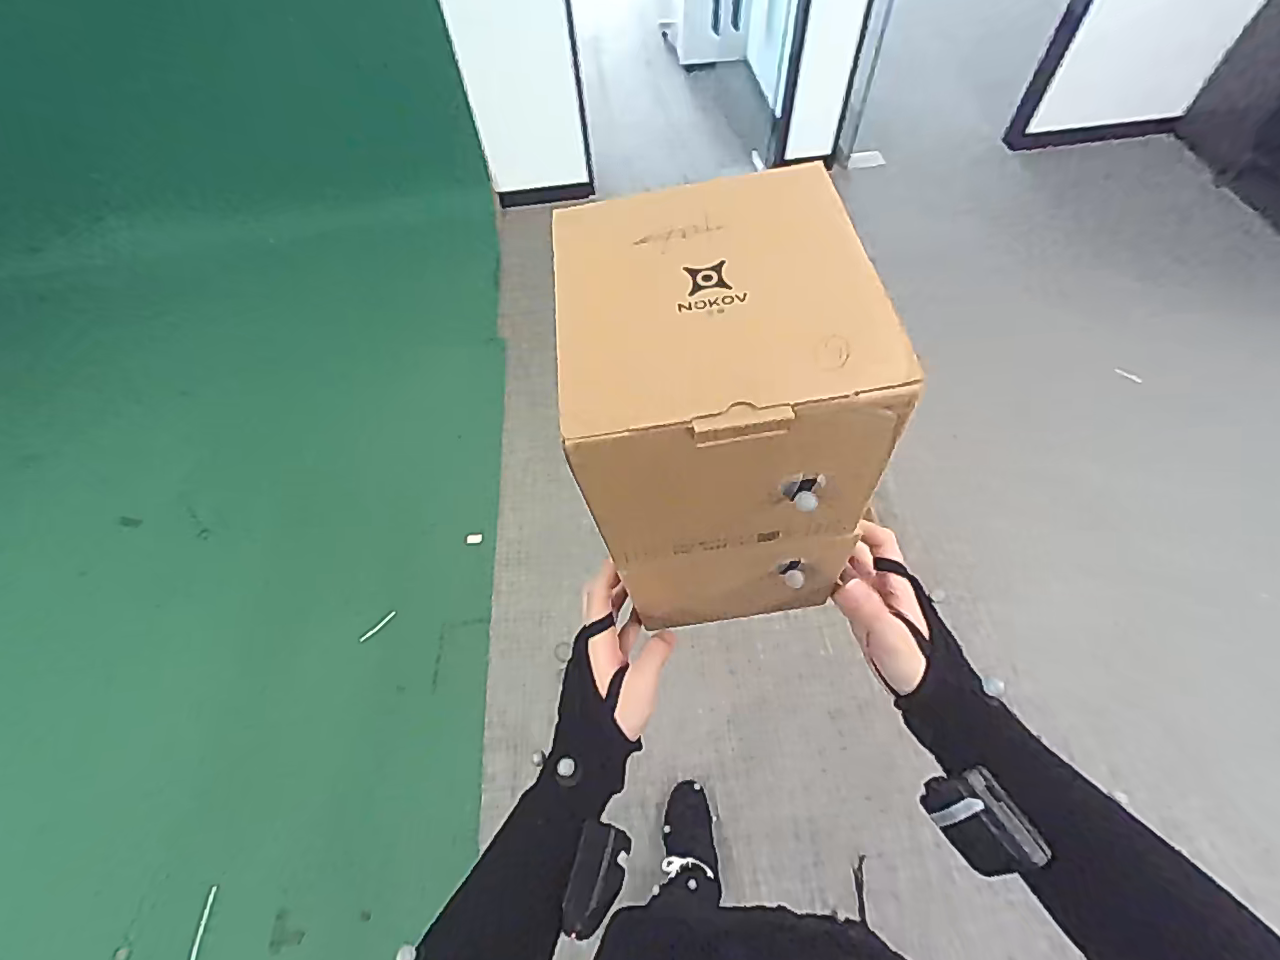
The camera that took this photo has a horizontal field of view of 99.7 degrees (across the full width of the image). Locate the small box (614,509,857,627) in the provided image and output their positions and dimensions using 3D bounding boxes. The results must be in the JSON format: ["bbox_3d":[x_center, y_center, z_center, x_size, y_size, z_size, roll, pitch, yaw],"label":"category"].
[{"bbox_3d":[0.072,0.025,0.493,0.179,0.176,0.168,-8,58,5],"label":"small box"}]

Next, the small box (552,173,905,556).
[{"bbox_3d":[0.045,-0.060,0.356,0.168,0.176,0.179,-8,58,4],"label":"small box"}]
